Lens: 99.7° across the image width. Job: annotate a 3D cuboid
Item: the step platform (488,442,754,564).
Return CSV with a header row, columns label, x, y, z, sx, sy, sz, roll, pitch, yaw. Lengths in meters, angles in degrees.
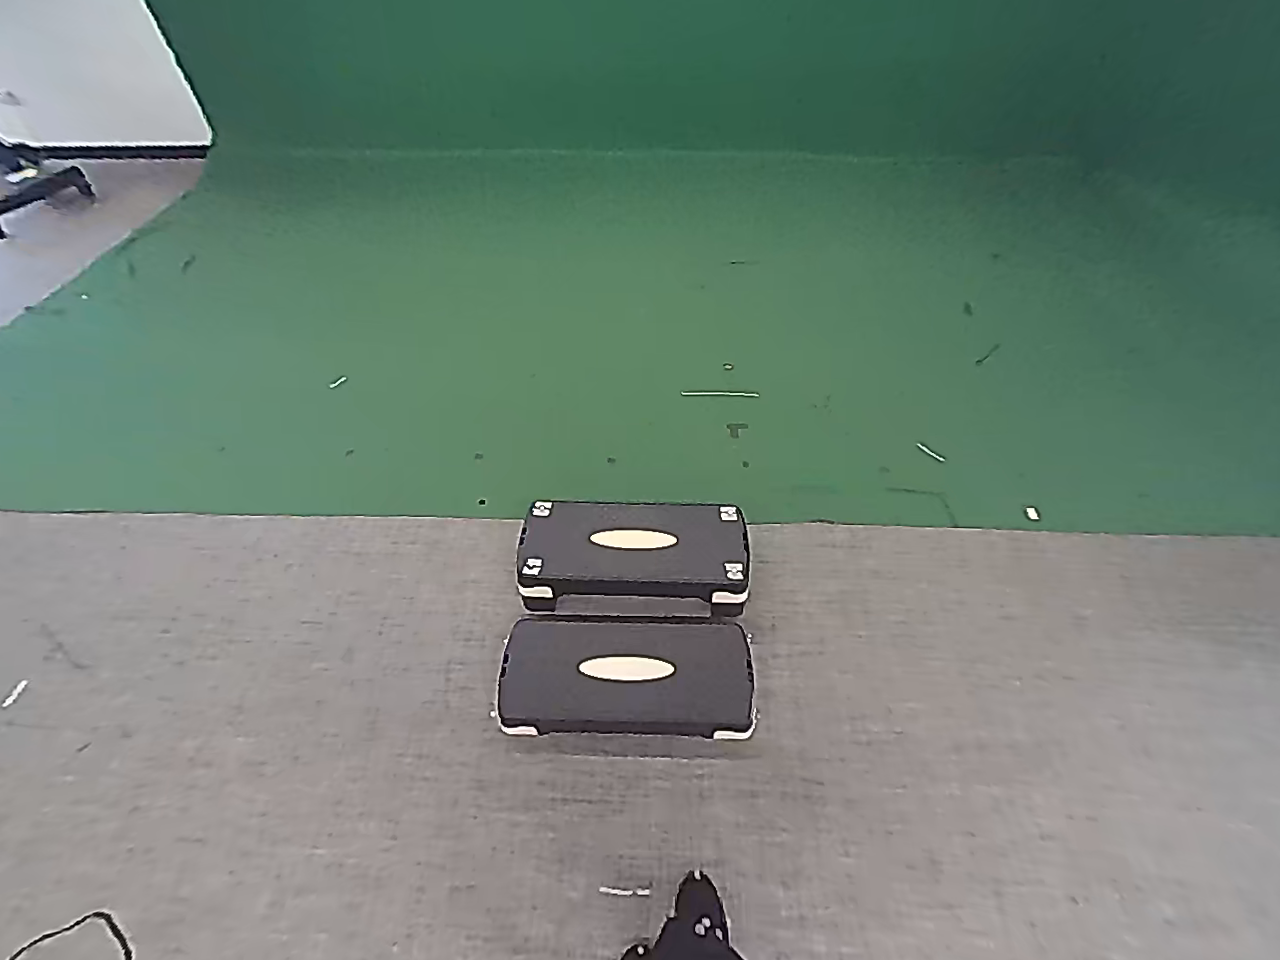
label,x,y,z,sx,sy,sz,roll,pitch,yaw
step platform,-0.047,0.067,1.480,0.684,0.204,0.286,1,51,2
